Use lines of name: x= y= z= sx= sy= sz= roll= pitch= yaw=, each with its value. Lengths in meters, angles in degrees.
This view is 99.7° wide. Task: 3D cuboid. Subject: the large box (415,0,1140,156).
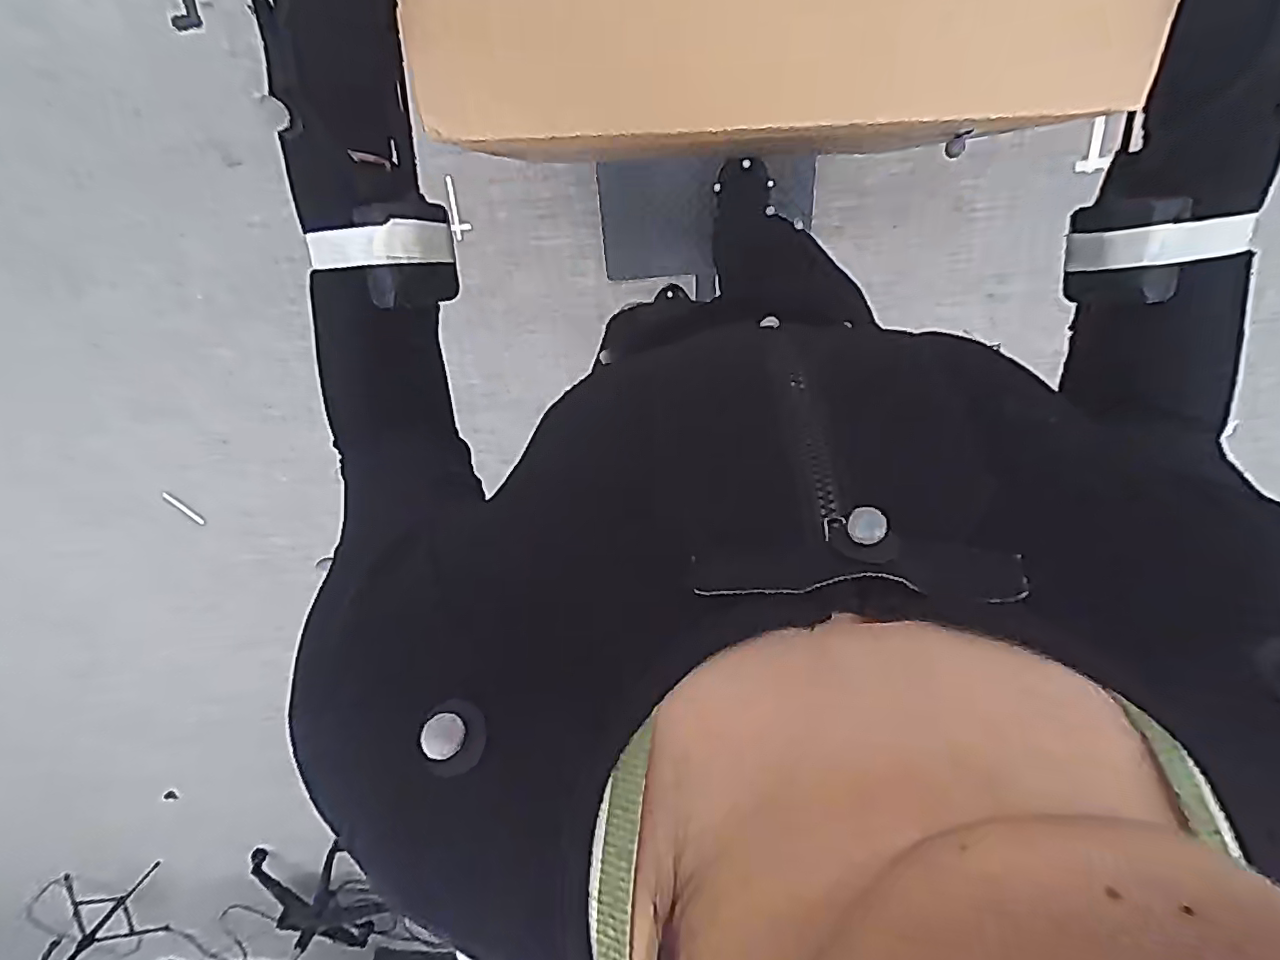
large box: x=0.073 y=-0.419 z=0.378 sx=0.408 sy=0.320 sz=0.320 roll=-2 pitch=118 yaw=1

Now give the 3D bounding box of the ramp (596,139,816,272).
ramp: x=0.125 y=-0.948 z=1.064 sx=0.509 sy=0.206 sz=0.991 roll=-5 pitch=113 yaw=4
